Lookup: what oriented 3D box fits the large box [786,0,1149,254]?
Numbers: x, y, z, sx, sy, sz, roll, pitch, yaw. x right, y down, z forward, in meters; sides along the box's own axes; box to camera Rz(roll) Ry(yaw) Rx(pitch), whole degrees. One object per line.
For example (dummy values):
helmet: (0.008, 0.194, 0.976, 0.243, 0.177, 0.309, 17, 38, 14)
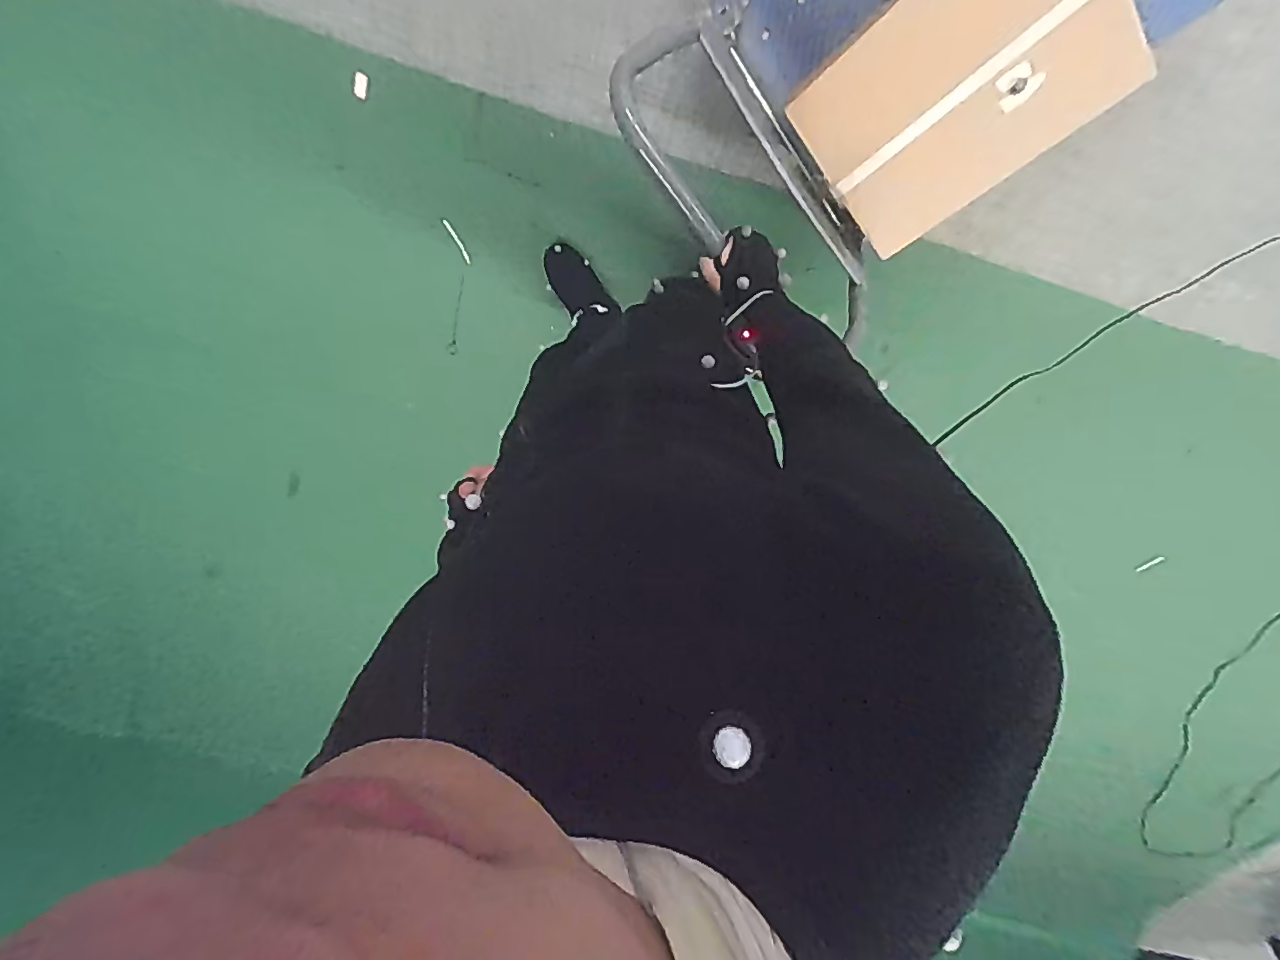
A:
large box: (0.509, -0.680, 0.928, 0.408, 0.320, 0.320, -30, 115, 34)
